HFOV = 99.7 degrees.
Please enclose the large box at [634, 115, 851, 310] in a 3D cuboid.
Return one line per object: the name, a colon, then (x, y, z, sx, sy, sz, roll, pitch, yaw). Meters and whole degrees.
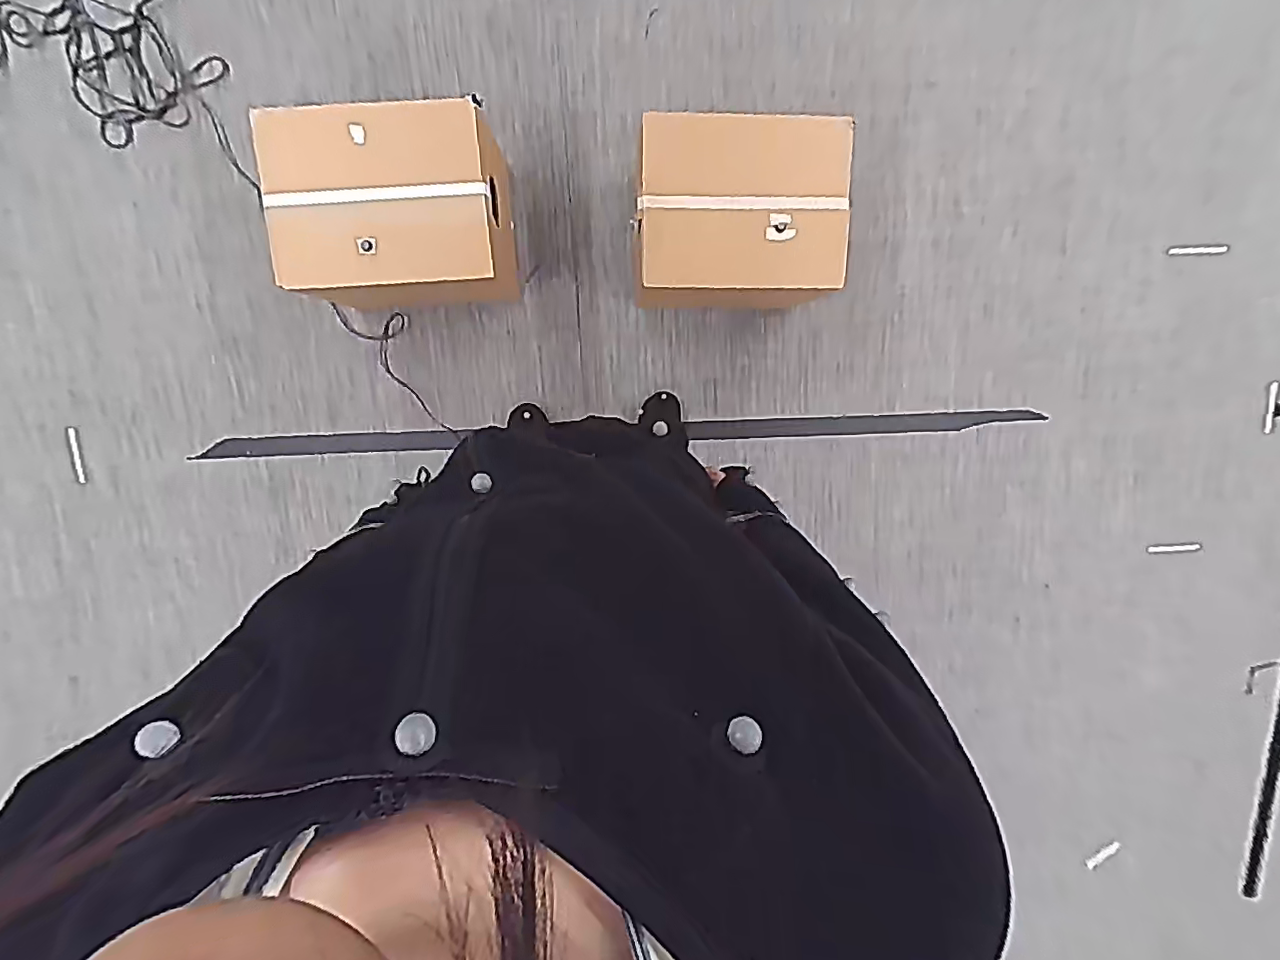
large box: (0.197, -0.559, 1.194, 0.408, 0.320, 0.320, 0, 100, -4)
